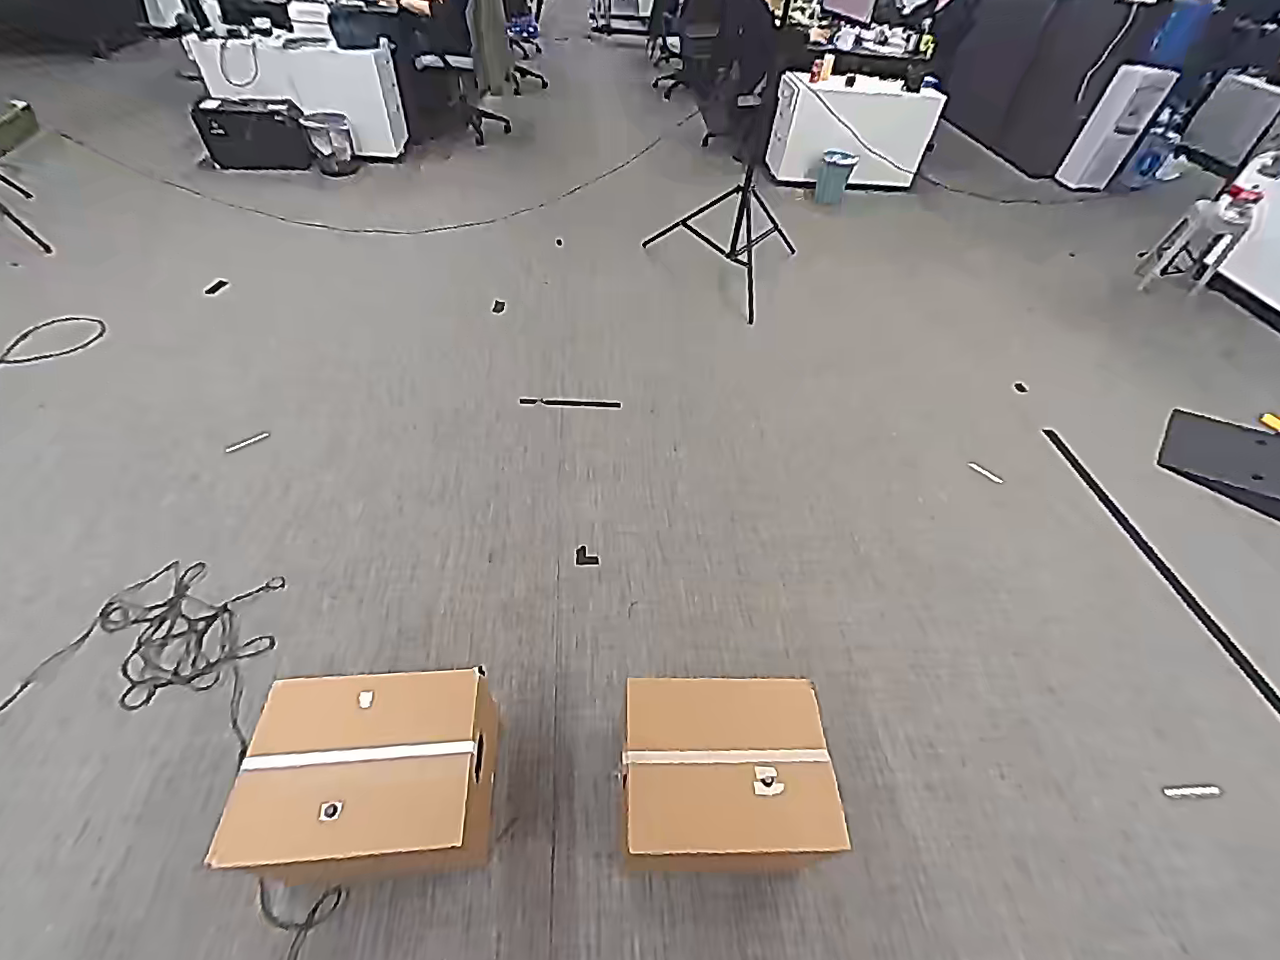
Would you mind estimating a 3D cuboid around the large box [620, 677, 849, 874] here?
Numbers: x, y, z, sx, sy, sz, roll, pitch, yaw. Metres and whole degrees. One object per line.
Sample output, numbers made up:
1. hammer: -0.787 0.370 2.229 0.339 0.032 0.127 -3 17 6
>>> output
1. large box: 0.166 0.642 1.175 0.408 0.320 0.320 3 48 -5
